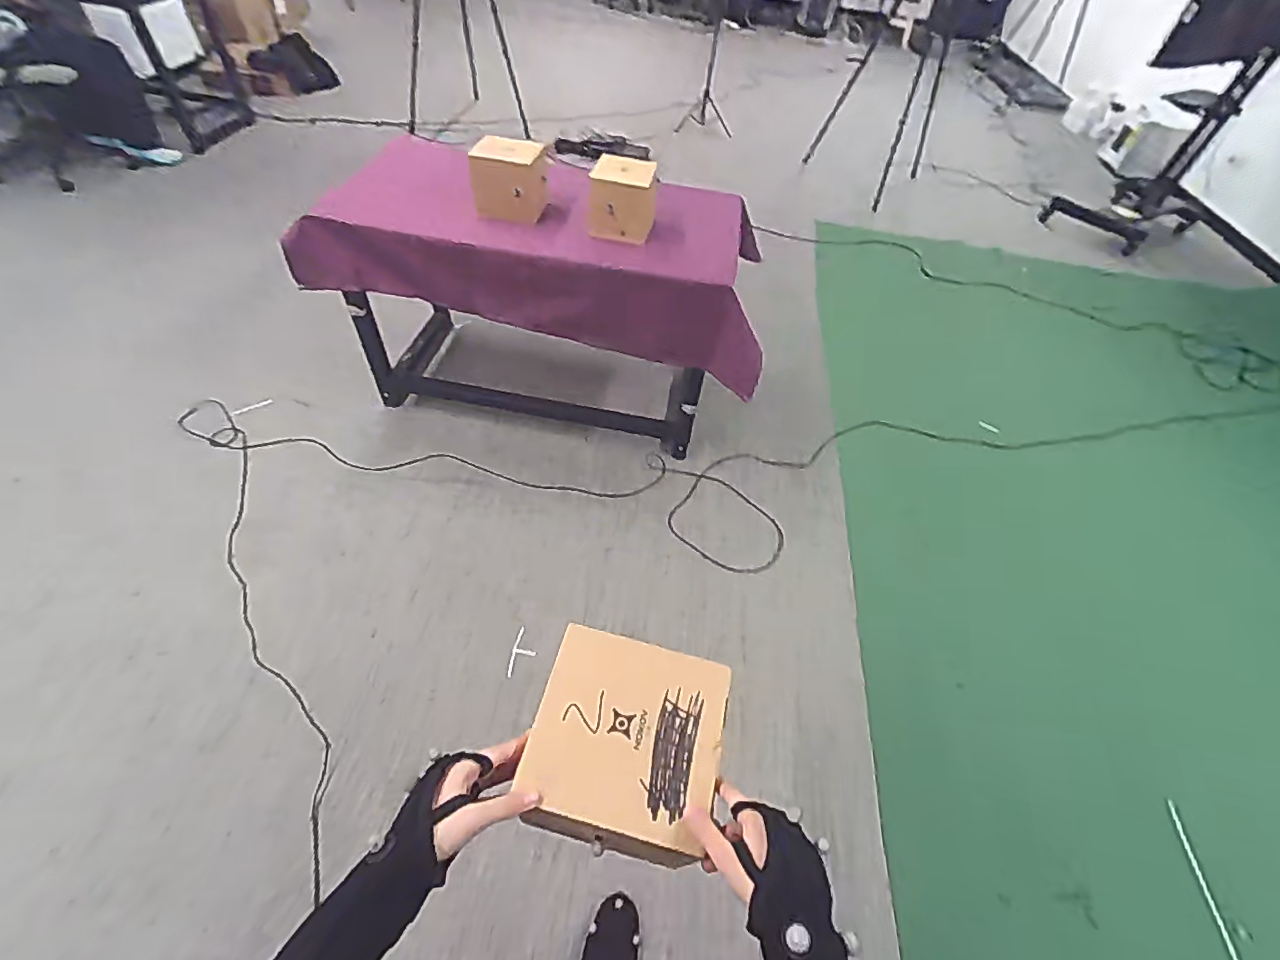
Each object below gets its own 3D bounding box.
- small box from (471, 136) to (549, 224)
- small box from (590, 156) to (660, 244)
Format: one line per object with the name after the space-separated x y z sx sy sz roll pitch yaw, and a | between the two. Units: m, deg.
-0.371 -0.874 1.583 0.179 0.176 0.168 11 49 3 | small box
-0.044 -0.808 1.567 0.168 0.176 0.179 12 49 3 | small box
